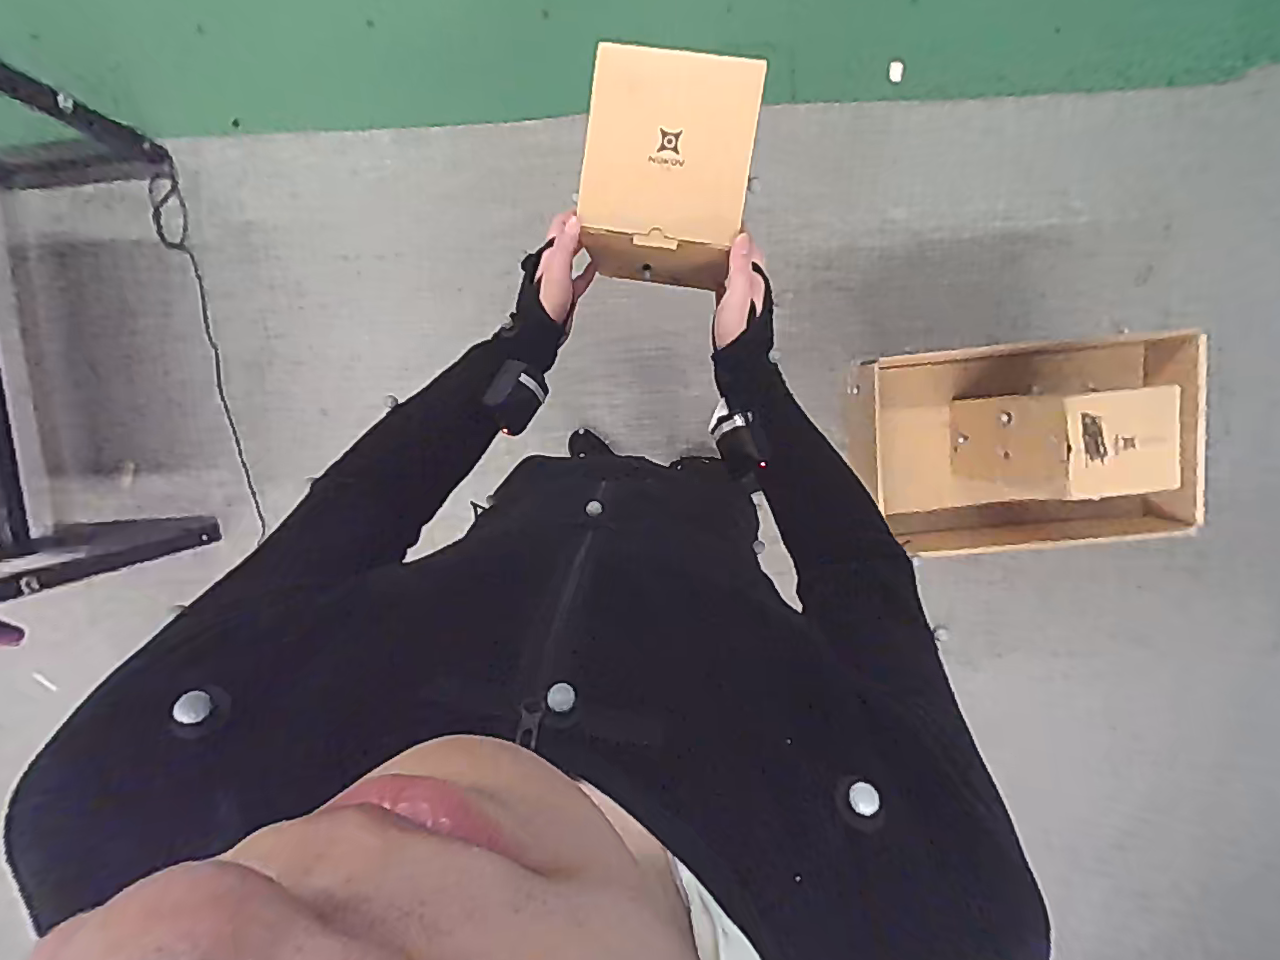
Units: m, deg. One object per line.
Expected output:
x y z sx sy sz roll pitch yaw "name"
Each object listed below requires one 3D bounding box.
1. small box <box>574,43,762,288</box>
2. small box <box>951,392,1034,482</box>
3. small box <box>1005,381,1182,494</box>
0.028 -0.330 0.602 0.168 0.176 0.179 7 98 2 "small box"
0.761 -0.092 1.088 0.179 0.176 0.168 -5 96 1 "small box"
0.759 -0.073 0.925 0.179 0.176 0.168 -7 97 1 "small box"
